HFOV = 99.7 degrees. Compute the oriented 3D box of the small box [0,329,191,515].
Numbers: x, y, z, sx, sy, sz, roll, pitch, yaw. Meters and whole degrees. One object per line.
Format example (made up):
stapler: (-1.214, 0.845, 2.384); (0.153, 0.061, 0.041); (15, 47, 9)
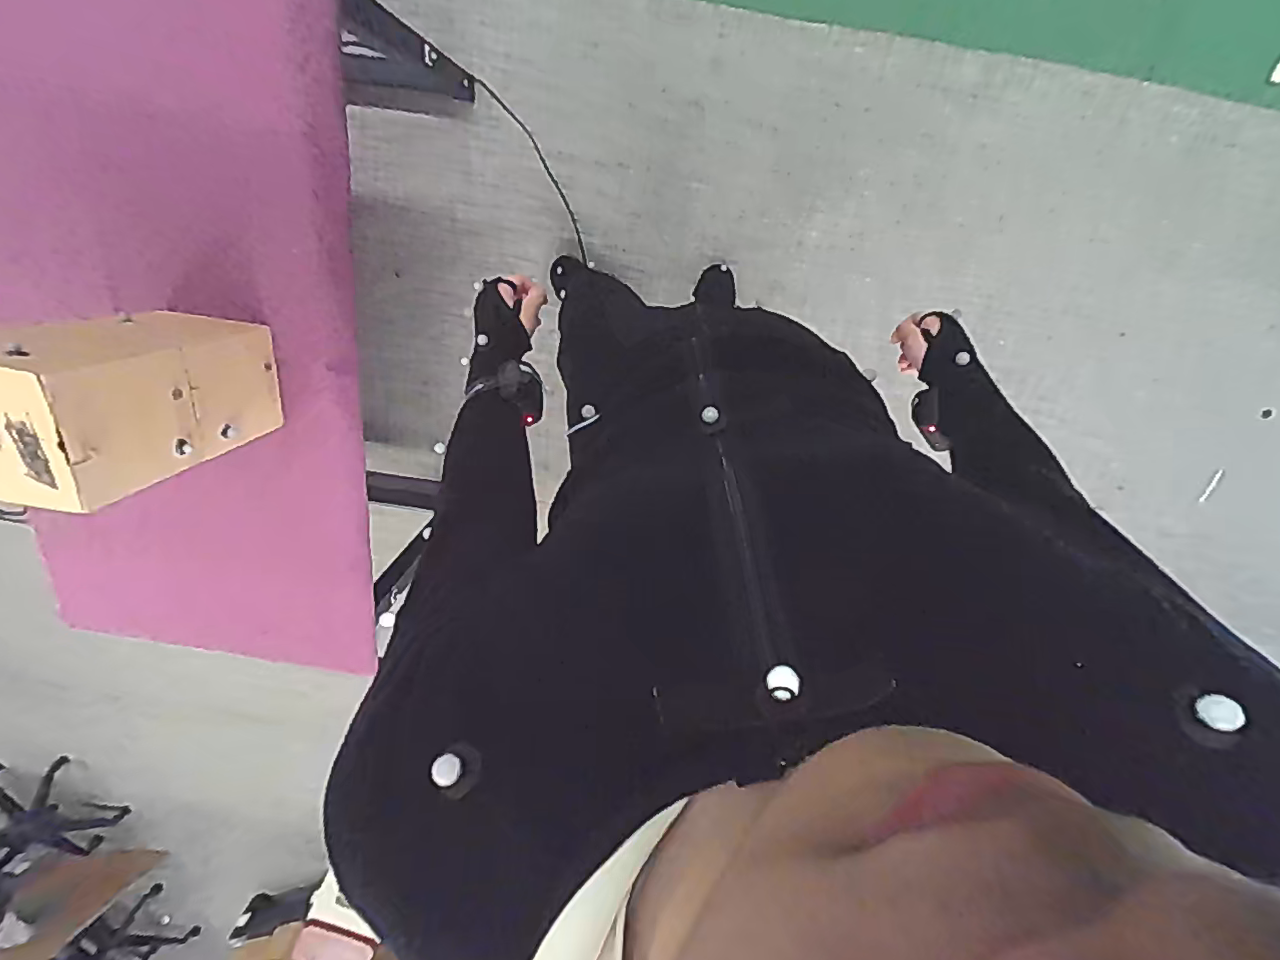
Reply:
small box: (-0.689, -0.078, 0.650); (0.179, 0.176, 0.168); (10, 114, 2)
